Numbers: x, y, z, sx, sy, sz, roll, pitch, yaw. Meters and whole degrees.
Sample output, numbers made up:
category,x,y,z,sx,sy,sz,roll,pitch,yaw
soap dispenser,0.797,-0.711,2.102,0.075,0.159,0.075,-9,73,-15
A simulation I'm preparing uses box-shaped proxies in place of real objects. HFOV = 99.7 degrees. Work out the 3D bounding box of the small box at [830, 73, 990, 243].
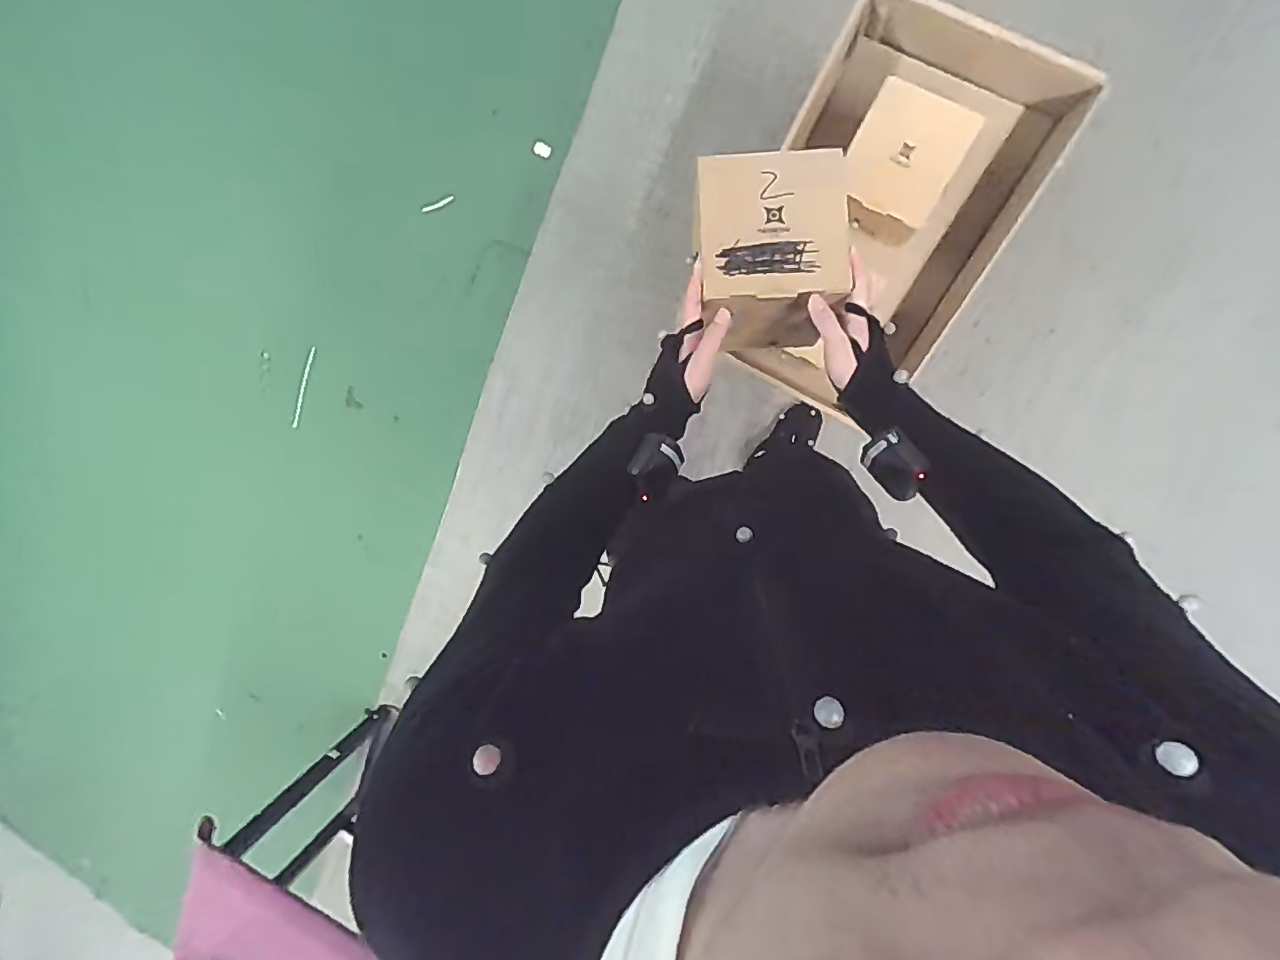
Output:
category,x,y,z,sx,sy,sz,roll,pitch,yaw
small box,0.442,-0.533,0.923,0.168,0.176,0.179,29,109,7

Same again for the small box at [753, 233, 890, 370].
category,x,y,z,sx,sy,sz,roll,pitch,yaw
small box,0.324,-0.319,0.998,0.168,0.176,0.179,31,108,7
